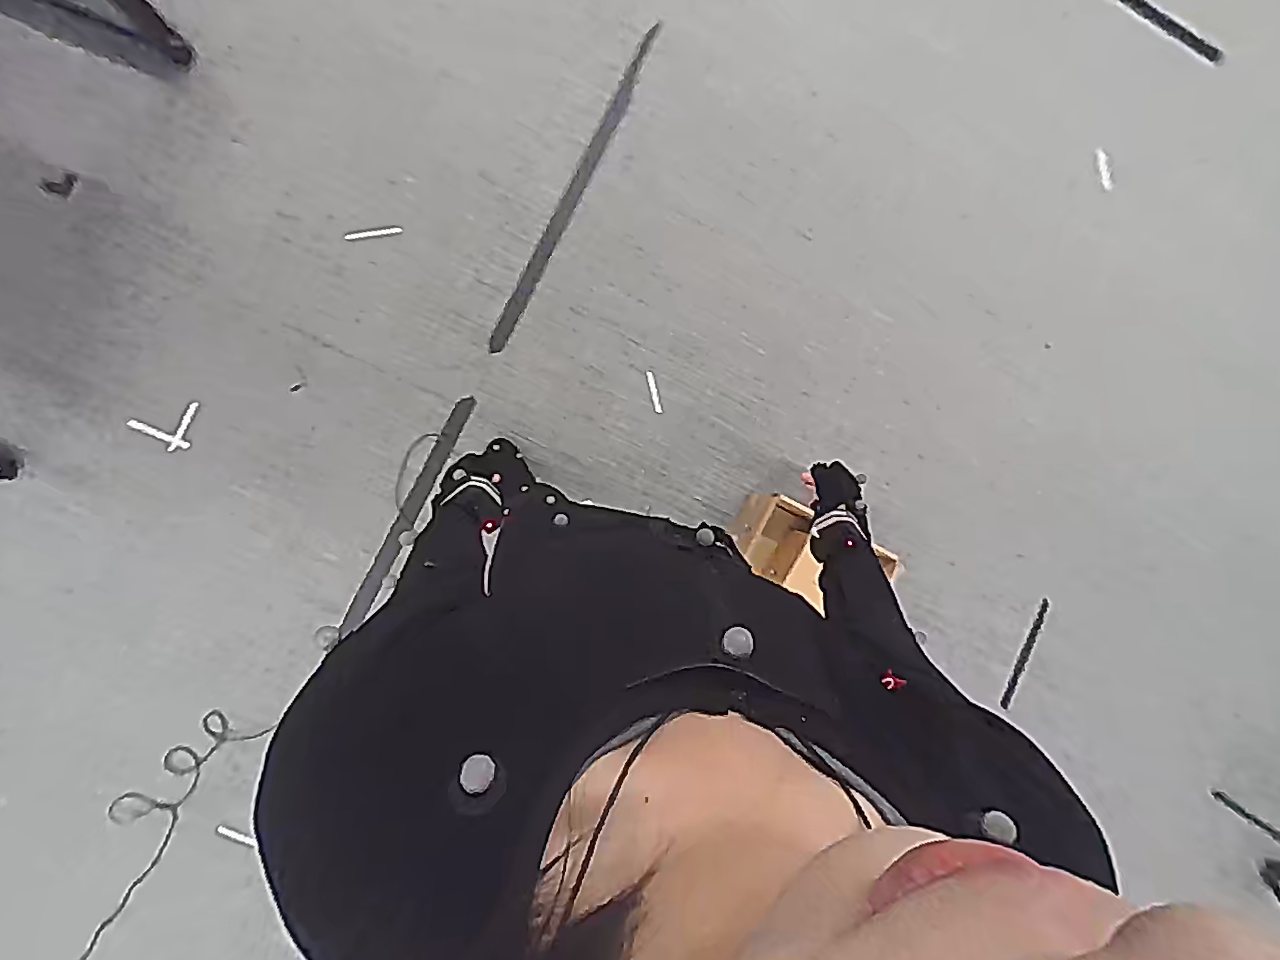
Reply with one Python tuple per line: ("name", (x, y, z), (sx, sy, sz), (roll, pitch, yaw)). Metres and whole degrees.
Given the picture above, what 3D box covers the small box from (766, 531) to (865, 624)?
("small box", (0.460, 0.254, 1.455), (0.168, 0.176, 0.179), (30, 87, -6))
